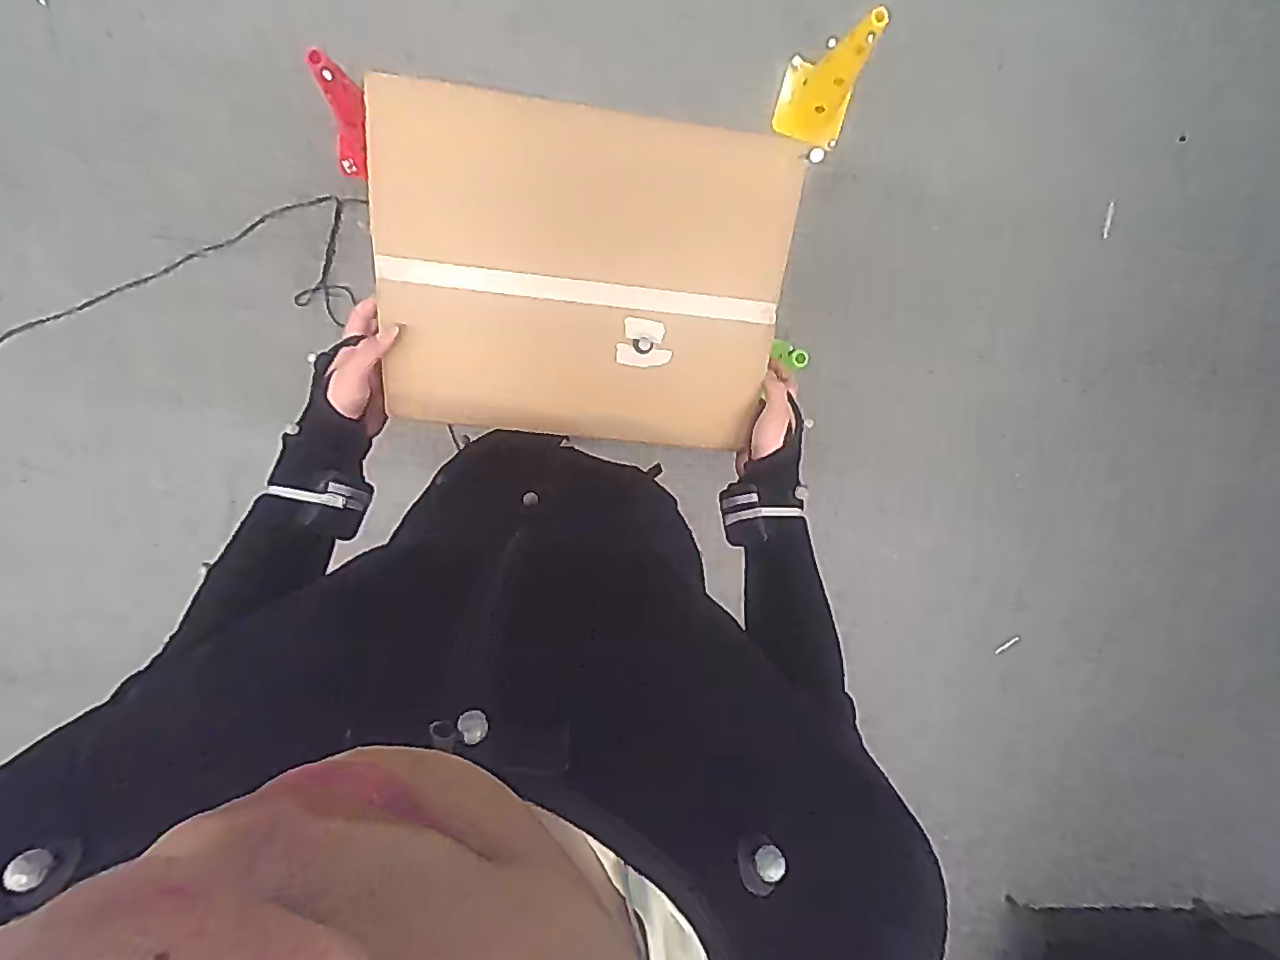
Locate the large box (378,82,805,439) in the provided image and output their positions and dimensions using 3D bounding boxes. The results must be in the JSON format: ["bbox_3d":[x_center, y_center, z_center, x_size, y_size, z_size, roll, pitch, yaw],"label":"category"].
[{"bbox_3d":[-0.065,-0.256,0.692,0.408,0.320,0.320,4,113,-7],"label":"large box"}]

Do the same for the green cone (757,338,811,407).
[{"bbox_3d":[0.368,-0.313,1.459,0.200,0.368,0.202,12,95,-8],"label":"green cone"}]
